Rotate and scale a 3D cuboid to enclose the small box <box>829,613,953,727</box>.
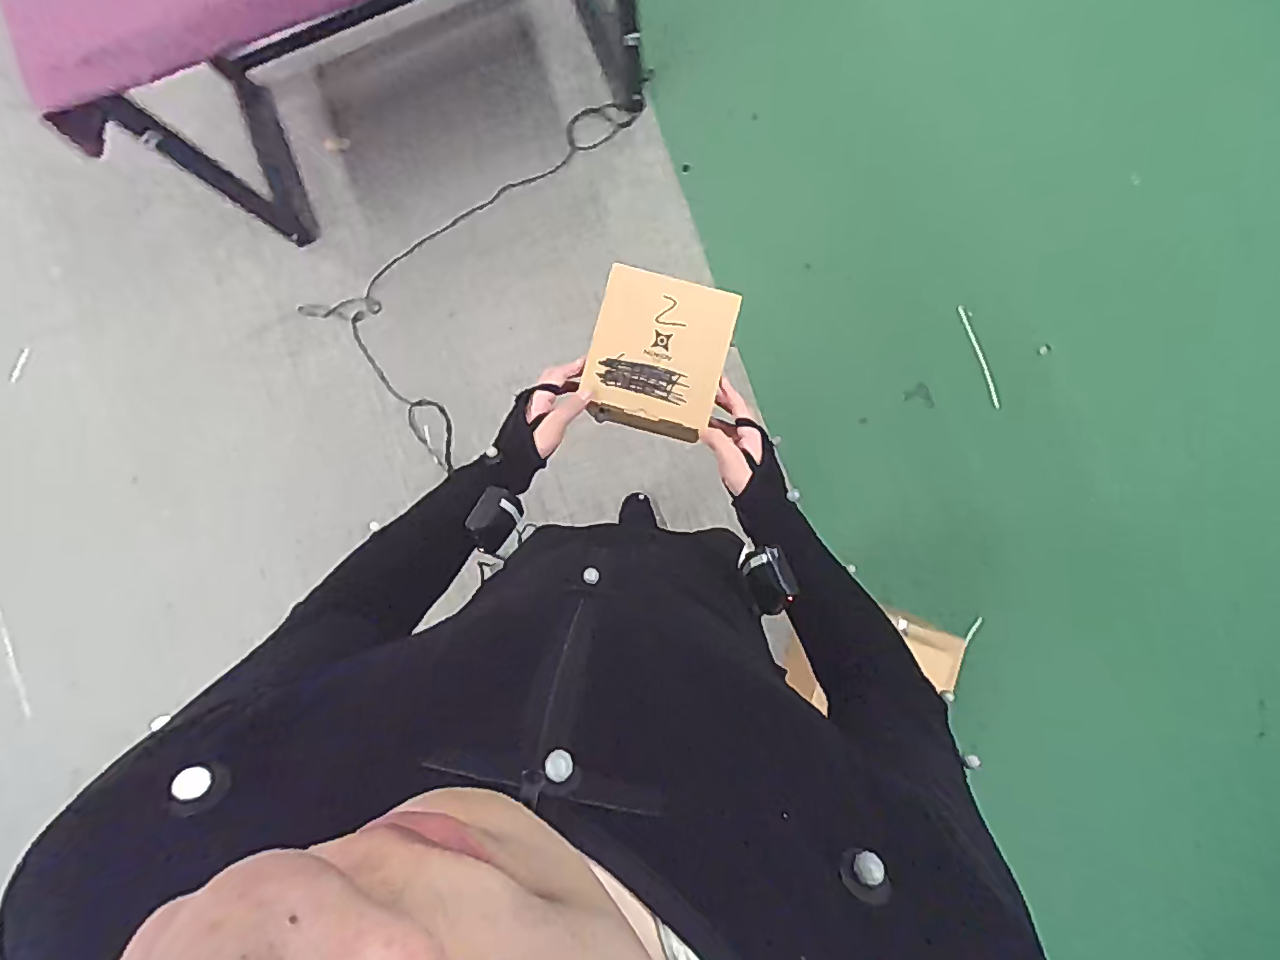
[{"bbox_3d":[0.546,0.410,1.202,0.179,0.176,0.168,20,91,3],"label":"small box"}]
